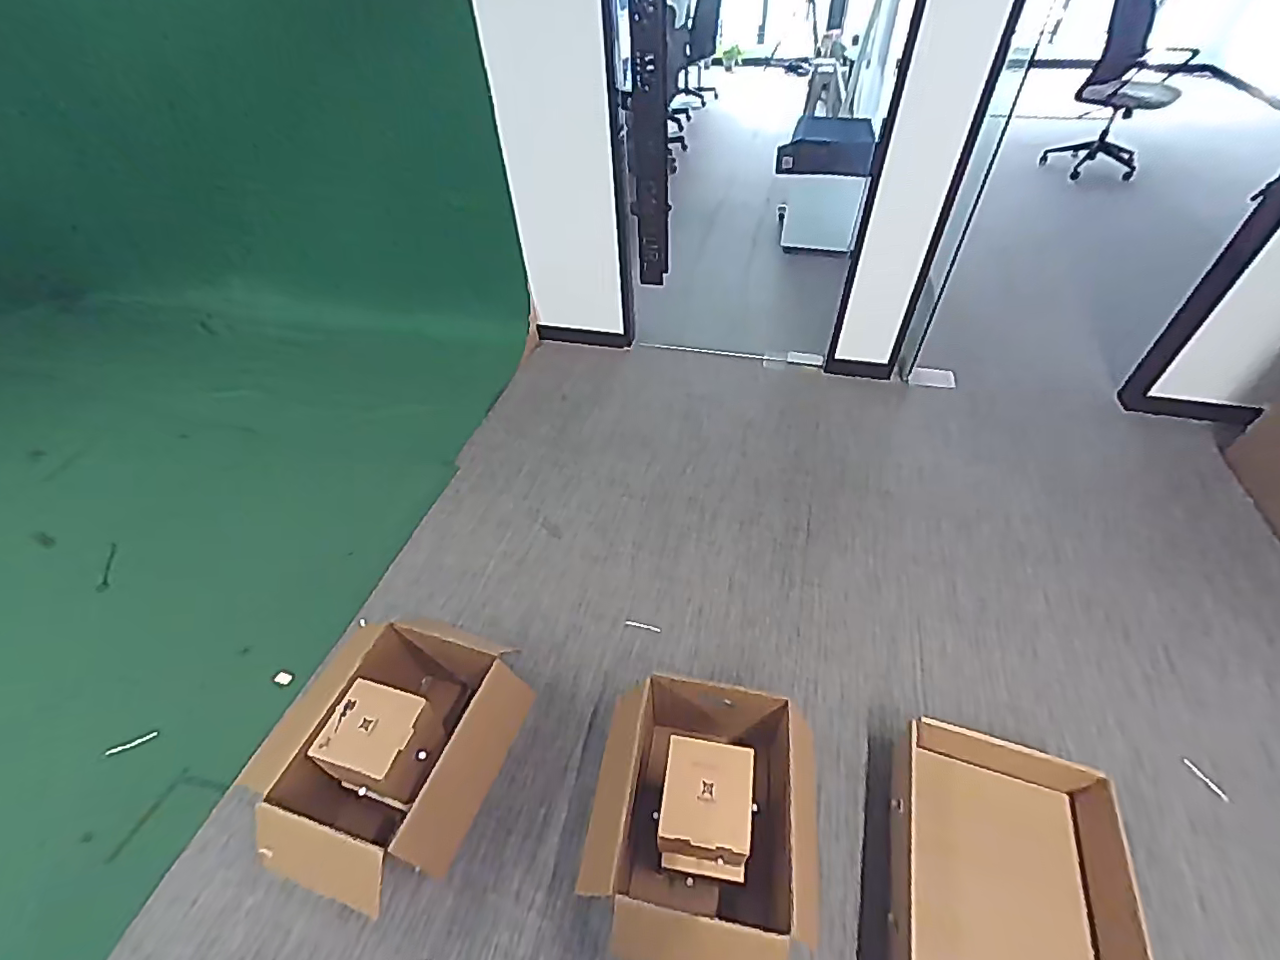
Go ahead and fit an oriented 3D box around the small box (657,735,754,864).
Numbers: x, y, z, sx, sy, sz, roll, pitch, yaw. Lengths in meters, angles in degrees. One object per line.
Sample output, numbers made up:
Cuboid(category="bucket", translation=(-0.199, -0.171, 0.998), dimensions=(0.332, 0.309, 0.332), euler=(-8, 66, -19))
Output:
Cuboid(category="small box", translation=(0.128, 0.632, 1.063), dimensions=(0.168, 0.176, 0.179), euler=(7, 49, 8))
